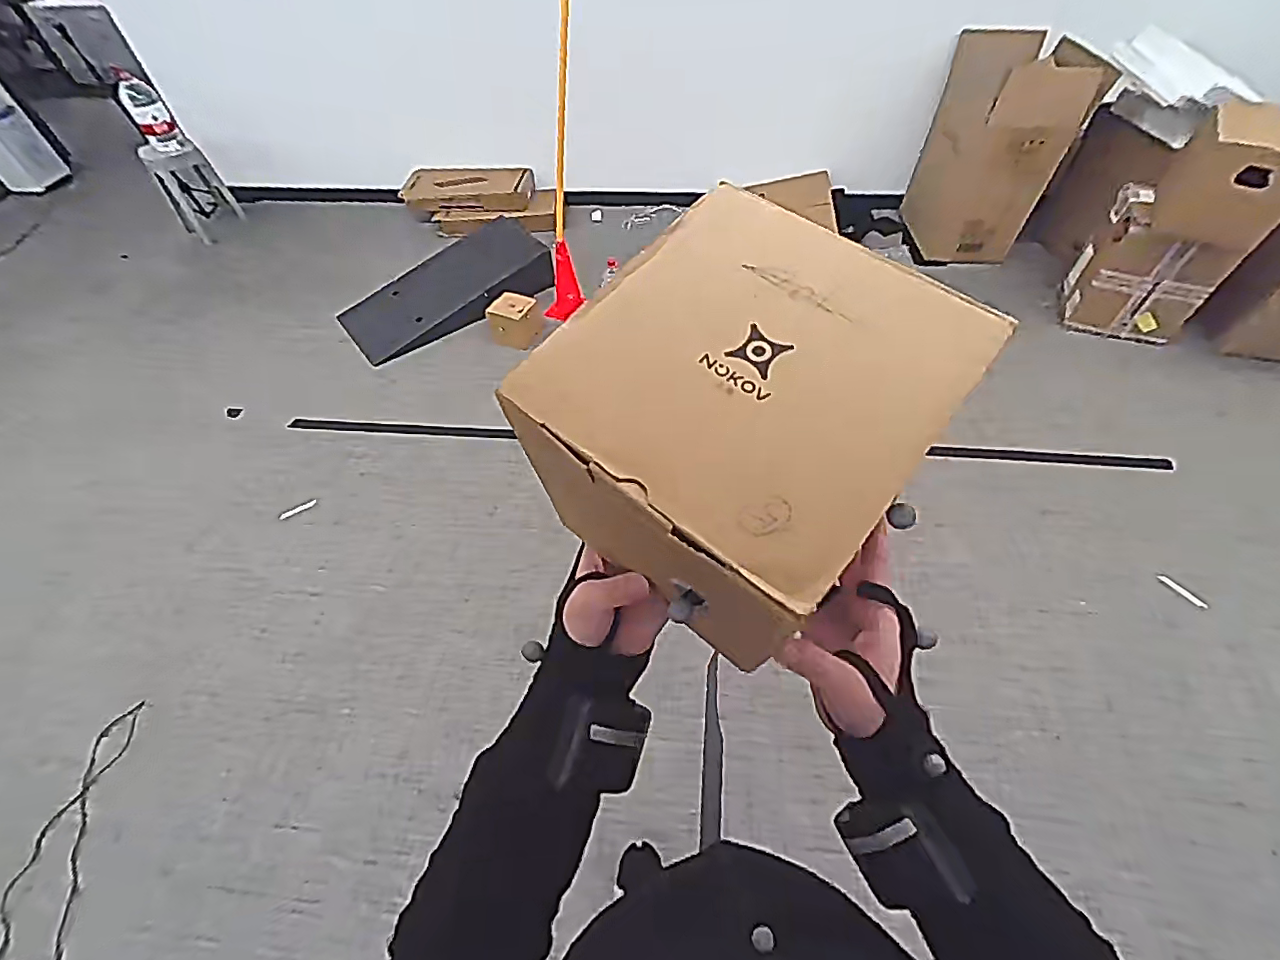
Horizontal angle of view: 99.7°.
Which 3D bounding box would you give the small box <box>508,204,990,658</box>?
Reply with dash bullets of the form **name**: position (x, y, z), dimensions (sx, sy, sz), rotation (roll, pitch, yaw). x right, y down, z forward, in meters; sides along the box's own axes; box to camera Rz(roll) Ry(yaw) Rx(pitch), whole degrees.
- **small box**: position (0.056, -0.017, 0.328), dimensions (0.168, 0.176, 0.179), rotation (37, 71, 18)
